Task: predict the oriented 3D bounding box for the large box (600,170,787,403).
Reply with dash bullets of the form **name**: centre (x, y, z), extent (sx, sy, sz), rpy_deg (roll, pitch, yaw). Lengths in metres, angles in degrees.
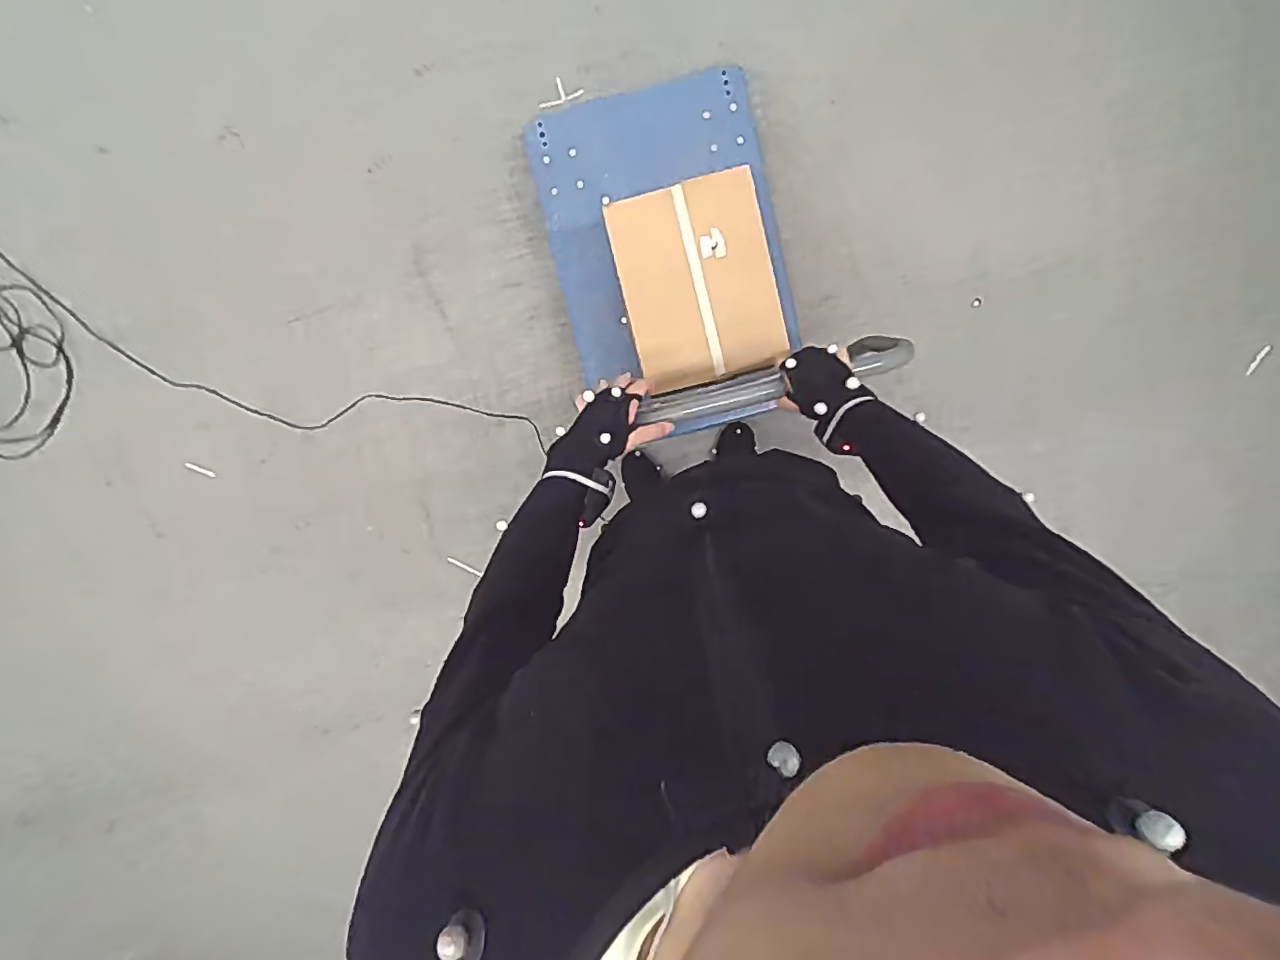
- **large box**: centre (0.120, -0.422, 1.280), extent (0.320, 0.320, 0.408), rpy_deg (-14, 94, 2)
